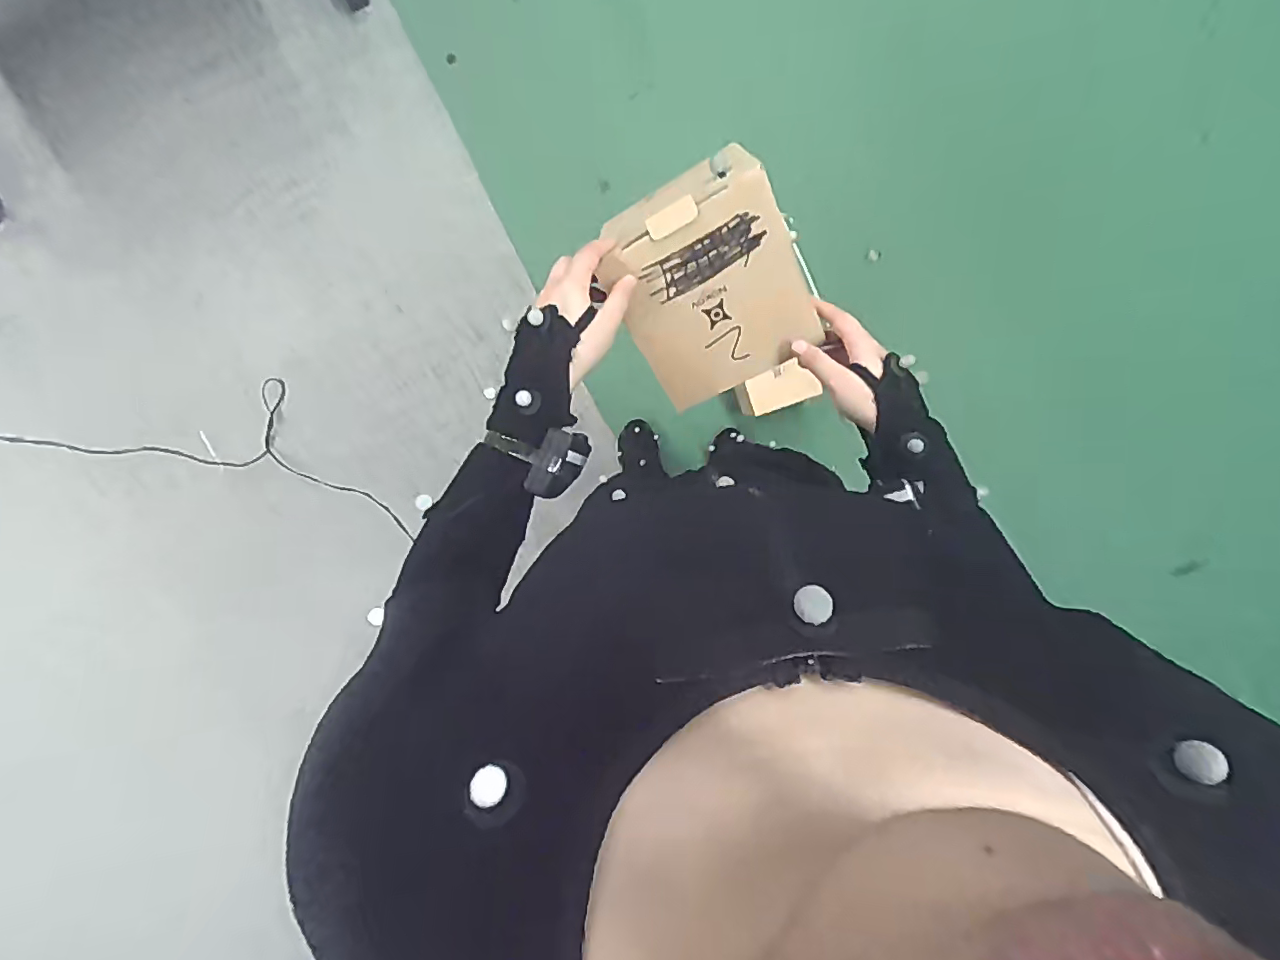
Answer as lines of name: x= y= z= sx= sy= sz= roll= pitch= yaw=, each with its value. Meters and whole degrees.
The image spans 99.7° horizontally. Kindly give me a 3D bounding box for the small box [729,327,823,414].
small box: x=0.334 y=-0.270 z=1.370 sx=0.179 sy=0.176 sz=0.168 roll=-19 pitch=97 yaw=2
